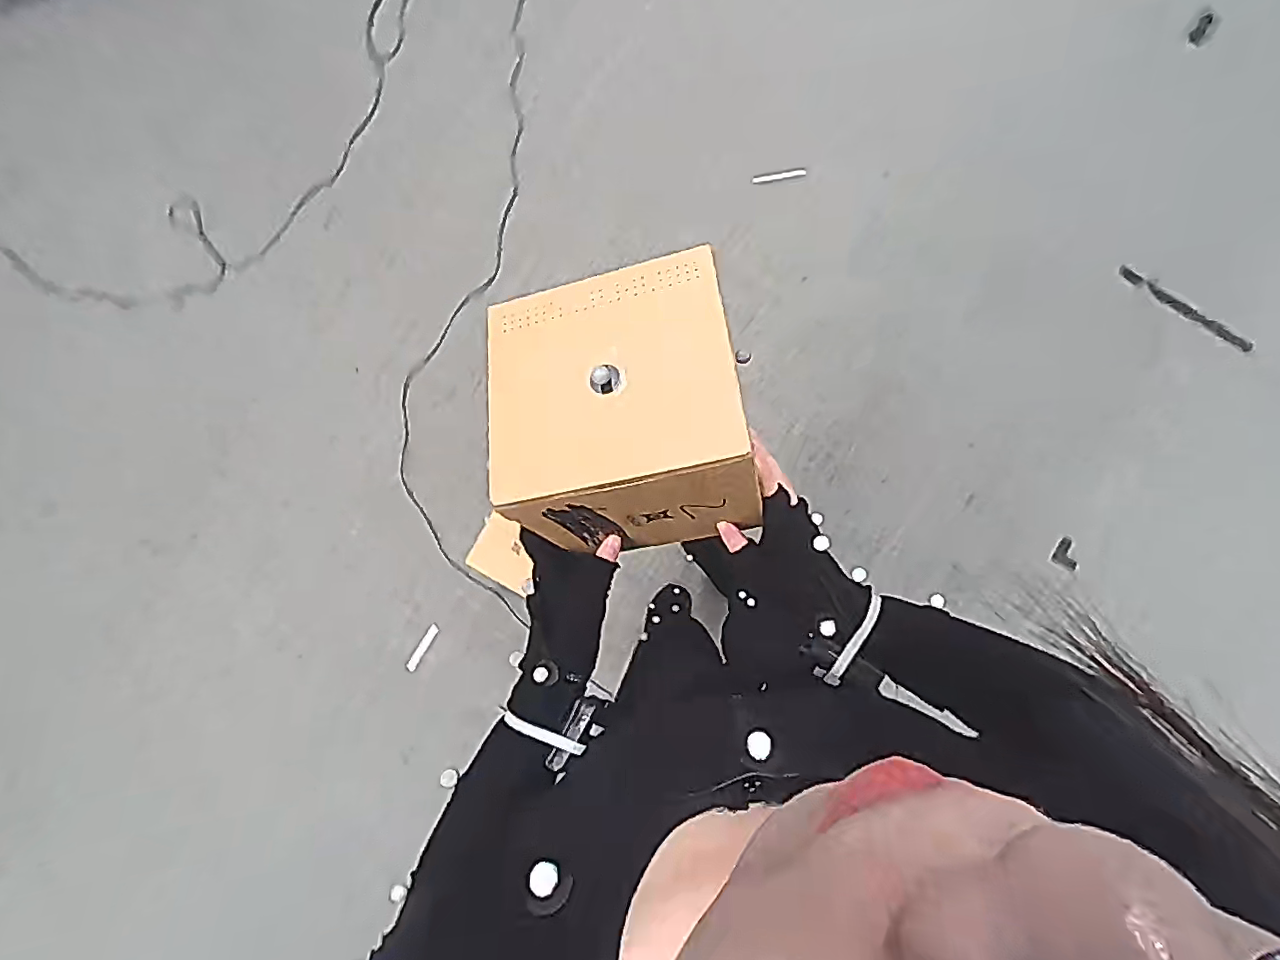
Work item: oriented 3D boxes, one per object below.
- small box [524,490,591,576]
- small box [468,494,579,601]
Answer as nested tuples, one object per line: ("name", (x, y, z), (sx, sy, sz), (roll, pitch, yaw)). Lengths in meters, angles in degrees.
("small box", (-0.245, 0.142, 1.388), (0.179, 0.176, 0.168), (33, 90, 1))
("small box", (-0.253, 0.145, 1.226), (0.168, 0.176, 0.179), (29, 90, 2))
